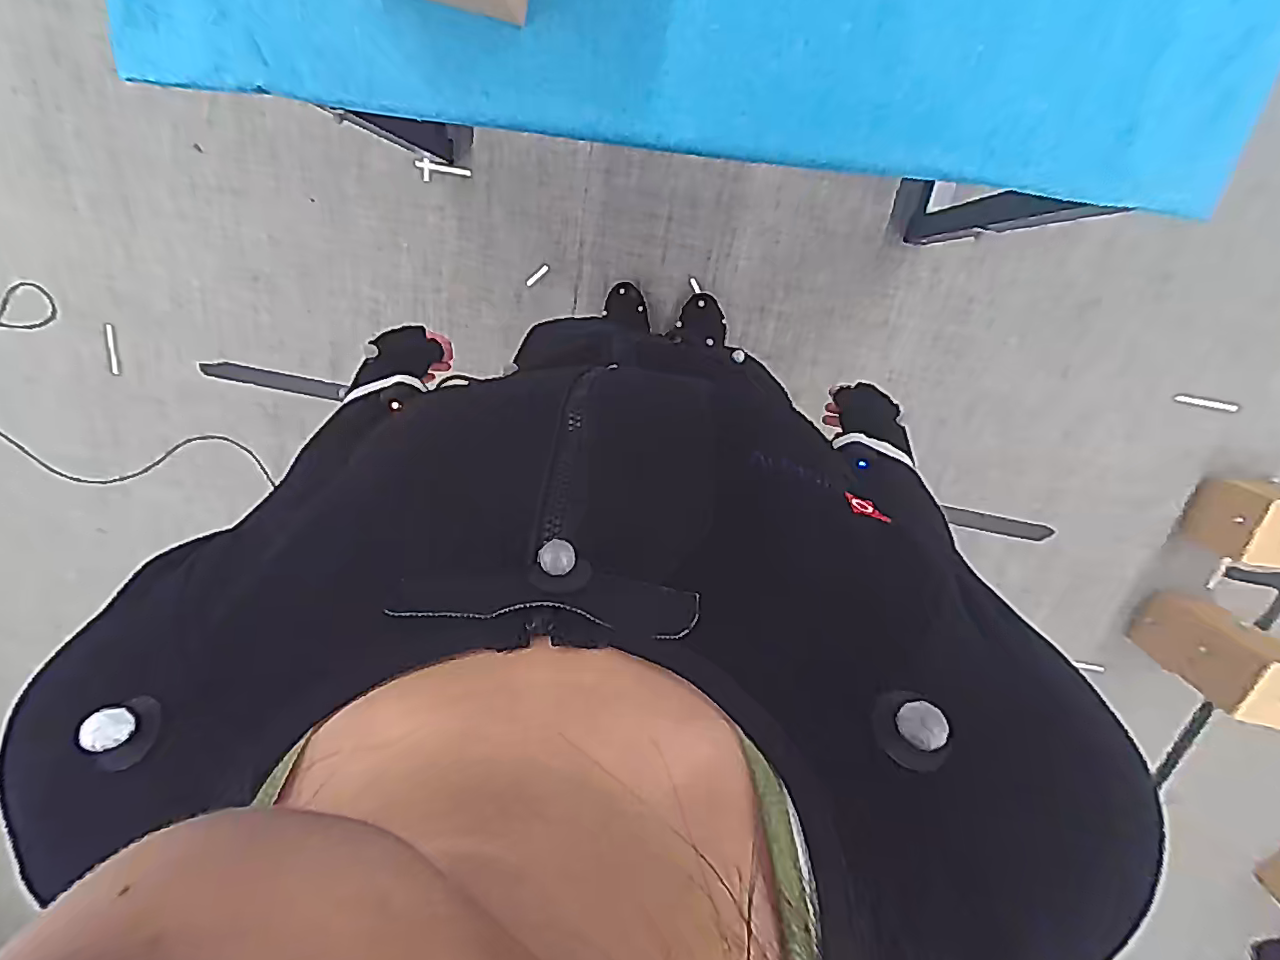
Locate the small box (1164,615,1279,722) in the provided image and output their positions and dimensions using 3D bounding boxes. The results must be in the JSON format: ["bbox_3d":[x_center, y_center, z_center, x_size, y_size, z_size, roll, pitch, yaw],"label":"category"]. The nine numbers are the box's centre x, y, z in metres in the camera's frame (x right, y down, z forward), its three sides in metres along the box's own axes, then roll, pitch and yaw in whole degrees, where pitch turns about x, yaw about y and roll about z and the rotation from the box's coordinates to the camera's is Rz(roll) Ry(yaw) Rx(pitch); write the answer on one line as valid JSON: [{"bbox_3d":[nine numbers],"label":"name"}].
[{"bbox_3d":[1.484,0.460,1.337,0.179,0.176,0.168,14,110,0],"label":"small box"}]

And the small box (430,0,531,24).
[{"bbox_3d":[-0.185,-0.556,0.471,0.168,0.176,0.179,14,111,-2],"label":"small box"}]

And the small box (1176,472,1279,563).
[{"bbox_3d":[1.532,0.089,1.367,0.168,0.176,0.179,6,112,2],"label":"small box"}]

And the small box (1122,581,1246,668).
[{"bbox_3d":[1.499,0.411,1.492,0.168,0.176,0.179,14,112,-2],"label":"small box"}]
